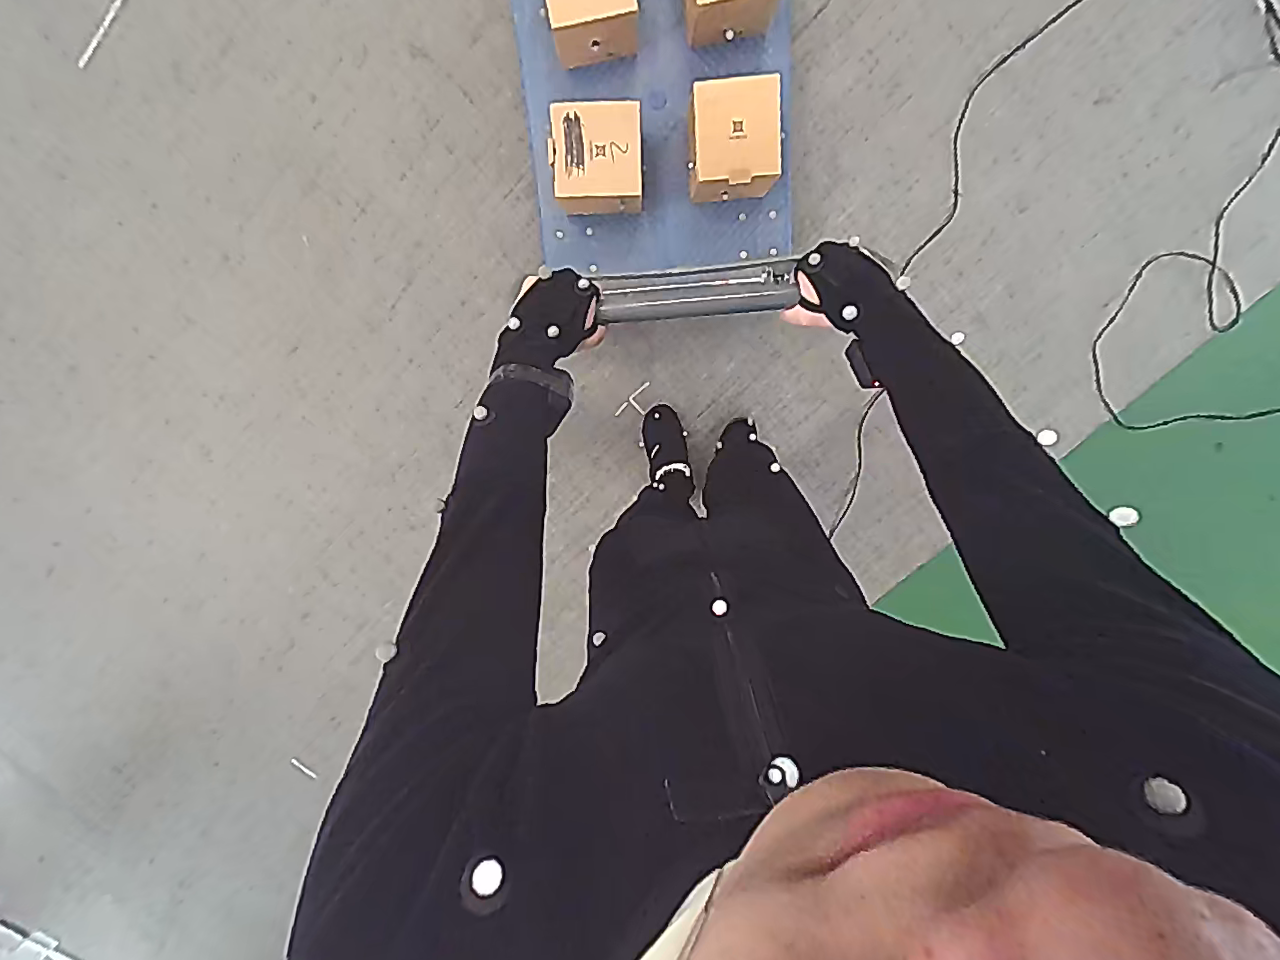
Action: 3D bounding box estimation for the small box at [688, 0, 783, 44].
[{"bbox_3d":[0.177,-0.984,1.030,0.168,0.176,0.179,-9,107,3],"label":"small box"}]

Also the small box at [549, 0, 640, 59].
[{"bbox_3d":[-0.092,-0.950,1.041,0.168,0.176,0.179,-10,106,2],"label":"small box"}]

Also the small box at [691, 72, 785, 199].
[{"bbox_3d":[0.196,-0.699,1.113,0.168,0.176,0.179,-5,107,2],"label":"small box"}]
